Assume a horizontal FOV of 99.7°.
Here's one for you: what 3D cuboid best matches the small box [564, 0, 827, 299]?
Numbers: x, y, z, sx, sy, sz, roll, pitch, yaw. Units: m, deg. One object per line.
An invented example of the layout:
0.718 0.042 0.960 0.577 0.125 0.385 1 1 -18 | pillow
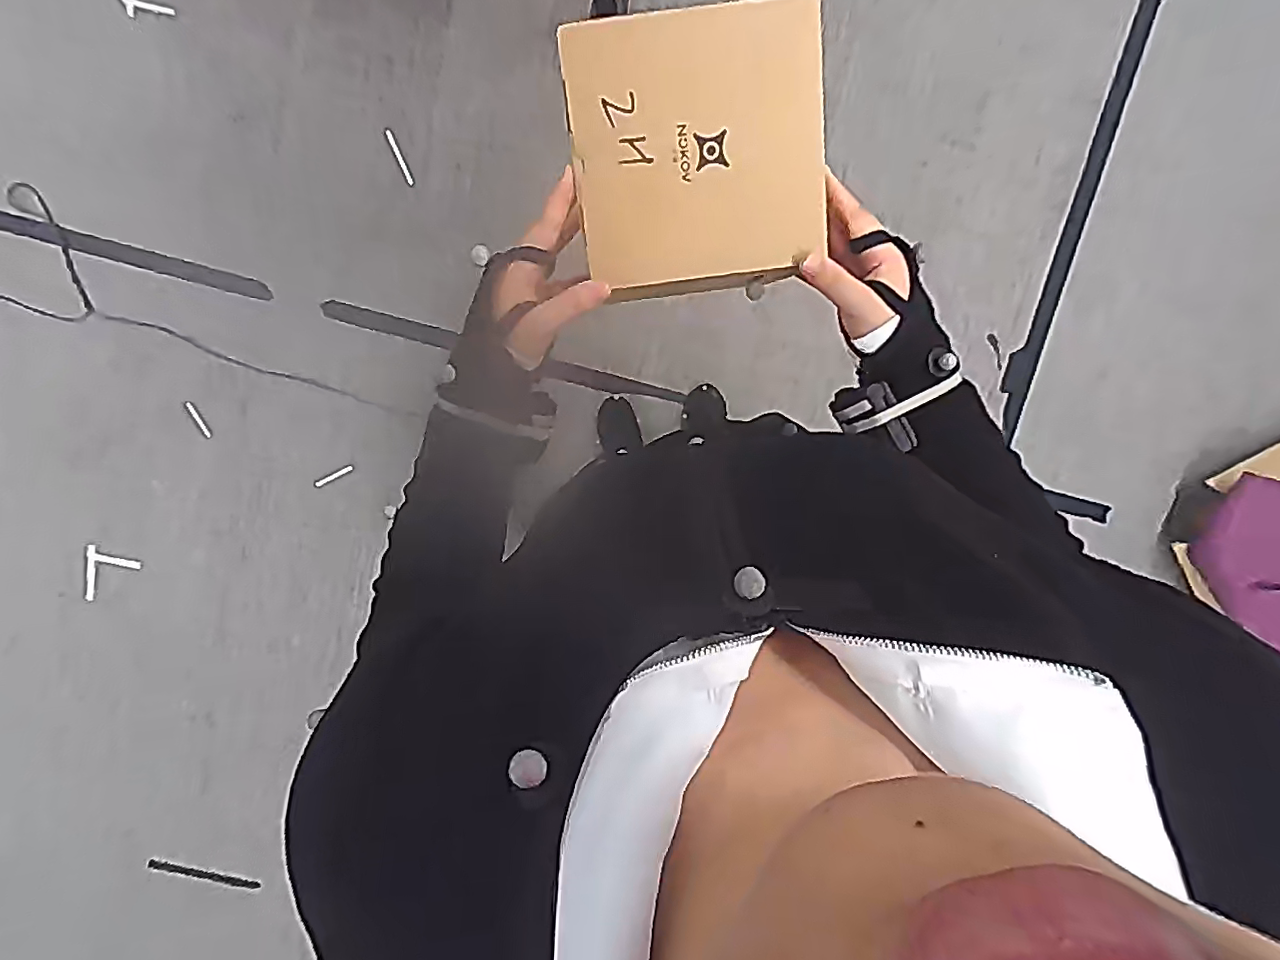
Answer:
0.040 -0.249 0.452 0.179 0.176 0.168 -7 105 0 | small box
